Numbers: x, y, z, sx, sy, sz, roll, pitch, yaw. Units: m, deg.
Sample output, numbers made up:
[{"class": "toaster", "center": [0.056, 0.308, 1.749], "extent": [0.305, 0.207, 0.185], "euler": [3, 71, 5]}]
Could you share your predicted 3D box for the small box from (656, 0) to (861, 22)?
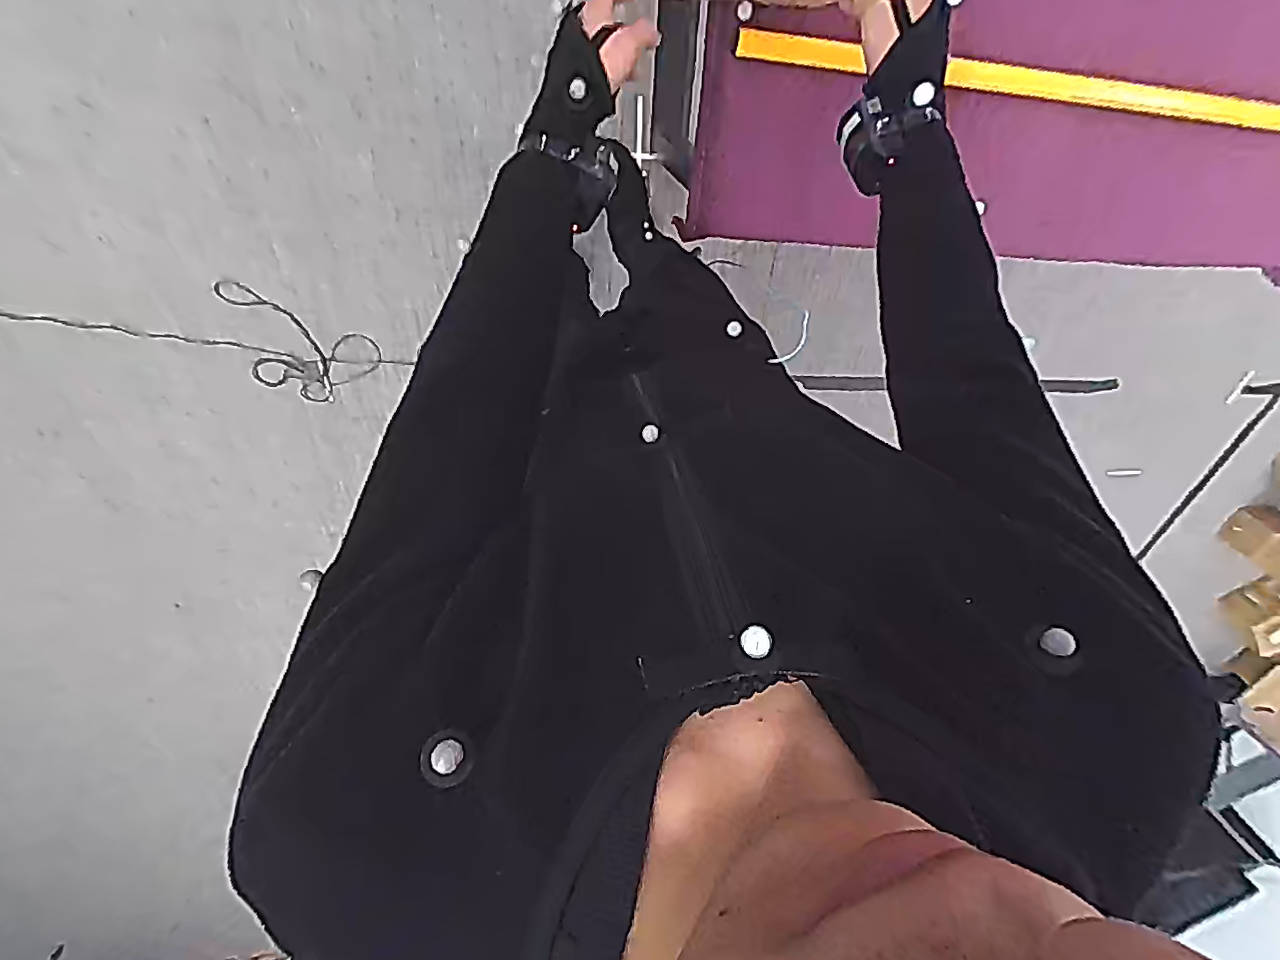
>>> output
[{"class": "small box", "center": [0.111, -0.536, 0.495], "extent": [0.179, 0.176, 0.168], "euler": [1, 128, -5]}]
